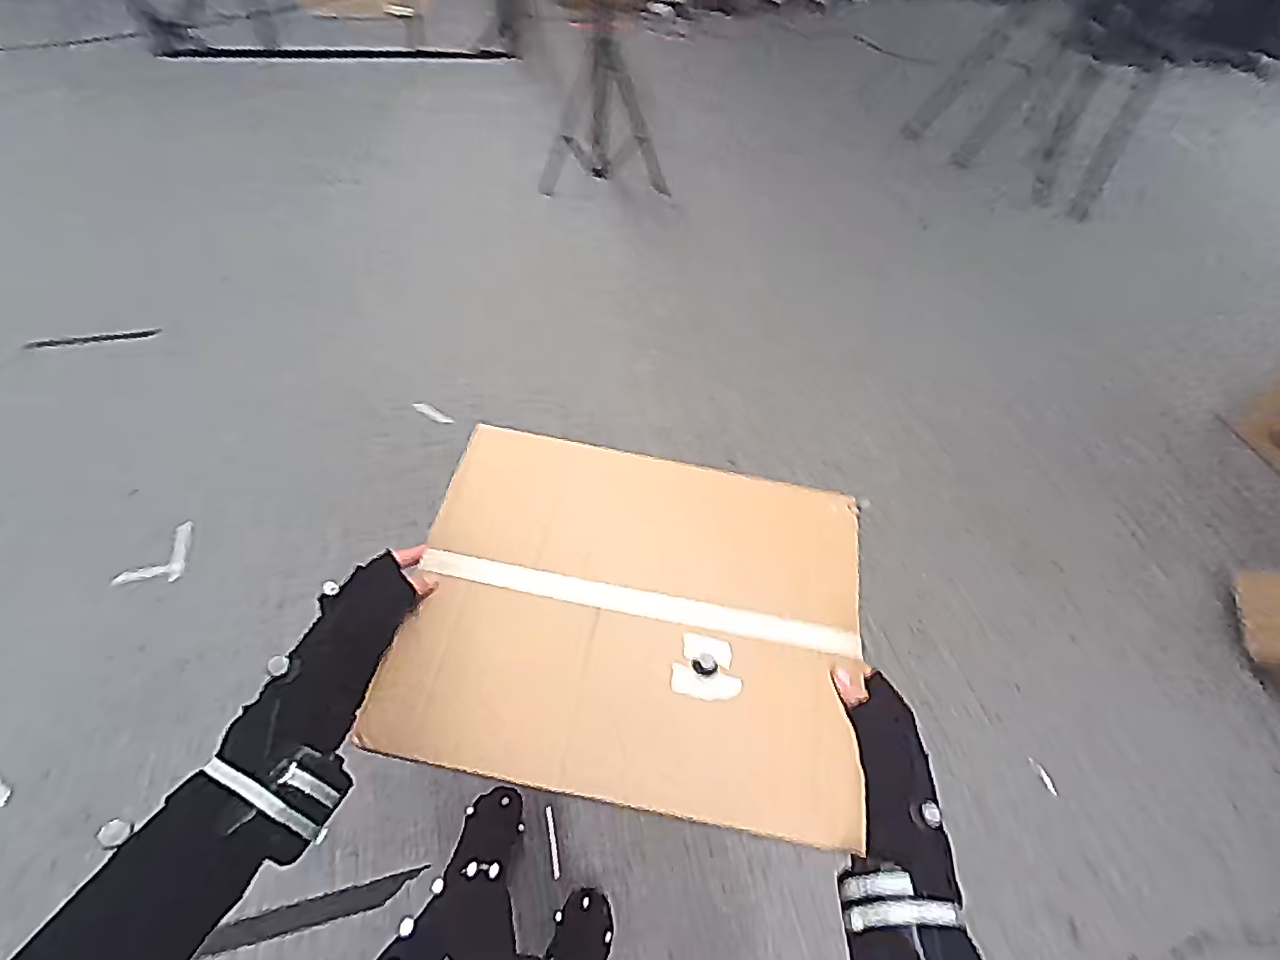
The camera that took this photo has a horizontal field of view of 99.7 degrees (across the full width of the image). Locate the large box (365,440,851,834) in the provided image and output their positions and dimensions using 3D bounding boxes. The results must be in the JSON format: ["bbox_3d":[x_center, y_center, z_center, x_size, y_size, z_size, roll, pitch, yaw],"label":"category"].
[{"bbox_3d":[-0.018,0.193,0.632,0.408,0.320,0.320,11,60,1],"label":"large box"}]
